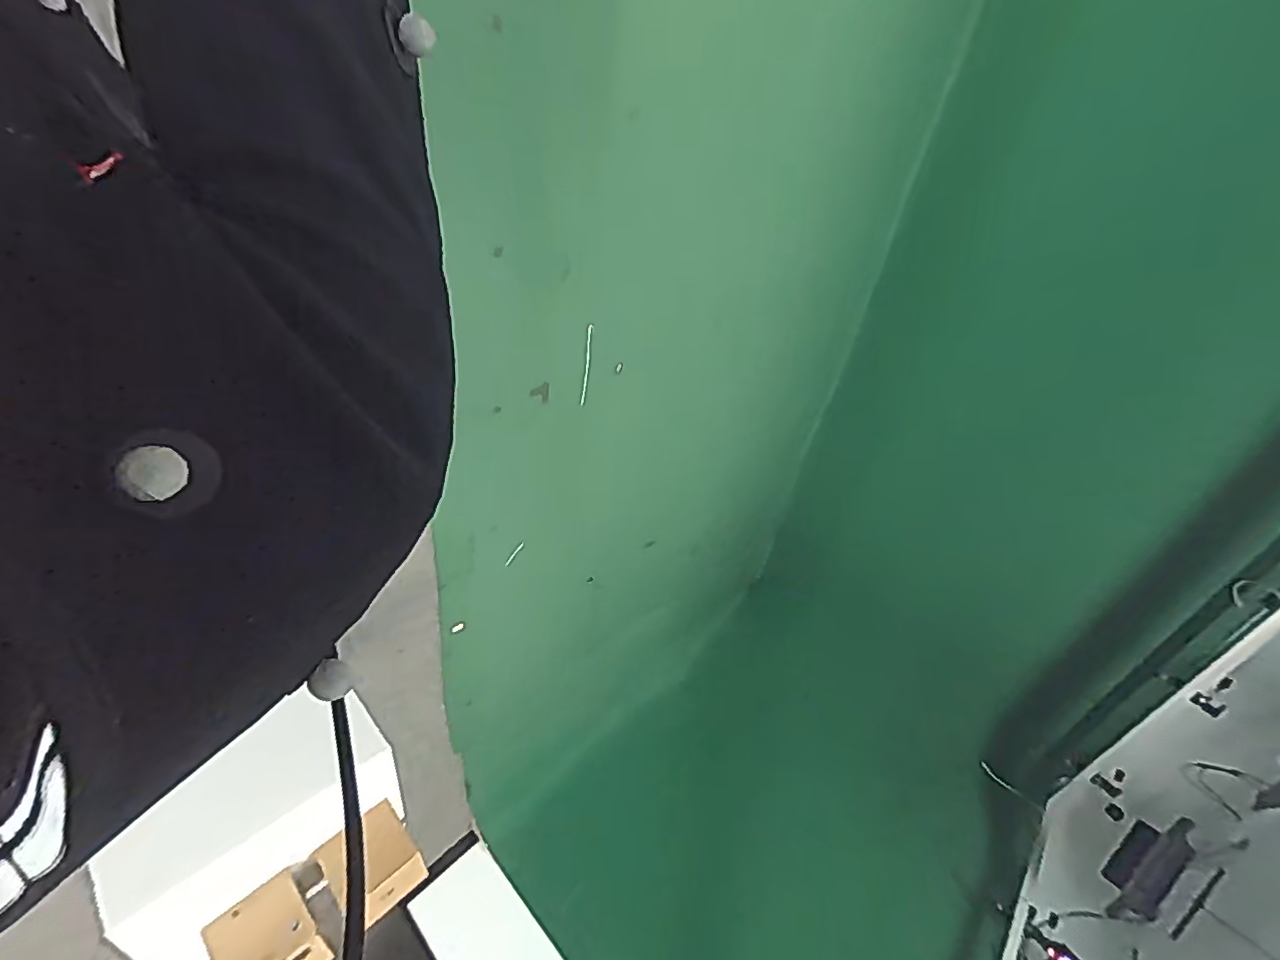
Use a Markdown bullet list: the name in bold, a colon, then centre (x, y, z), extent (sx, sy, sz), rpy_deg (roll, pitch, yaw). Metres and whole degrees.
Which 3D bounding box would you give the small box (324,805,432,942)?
- **small box**: centre (-0.631, 0.938, 1.299), extent (0.179, 0.176, 0.168), rpy_deg (-30, 141, -38)
